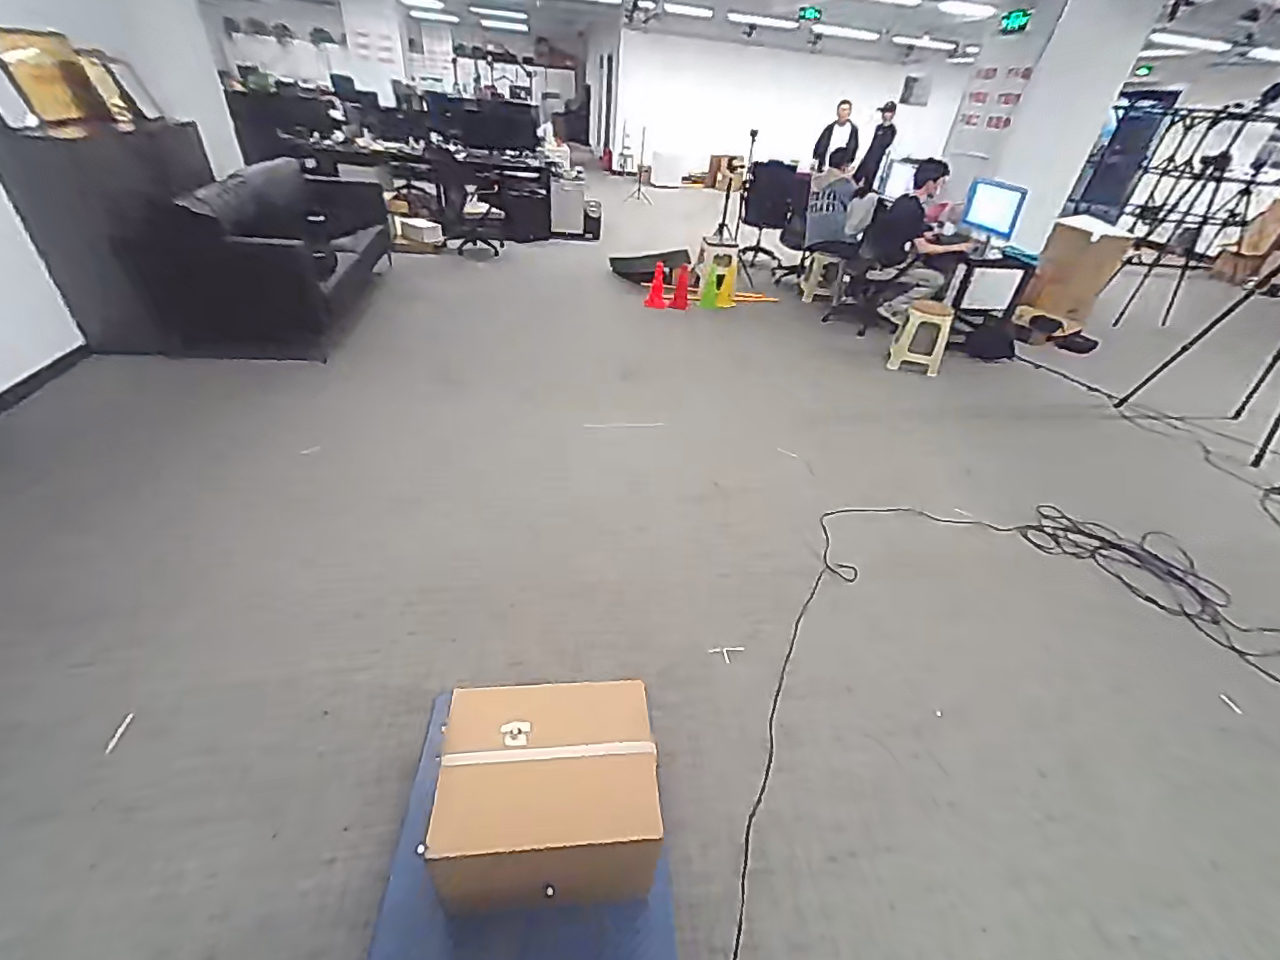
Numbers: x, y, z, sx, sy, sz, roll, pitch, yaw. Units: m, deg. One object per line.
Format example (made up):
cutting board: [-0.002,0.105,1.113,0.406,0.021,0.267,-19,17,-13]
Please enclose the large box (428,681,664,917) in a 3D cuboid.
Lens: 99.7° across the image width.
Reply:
large box: [-0.180,0.651,1.121,0.408,0.320,0.320,0,35,-8]
